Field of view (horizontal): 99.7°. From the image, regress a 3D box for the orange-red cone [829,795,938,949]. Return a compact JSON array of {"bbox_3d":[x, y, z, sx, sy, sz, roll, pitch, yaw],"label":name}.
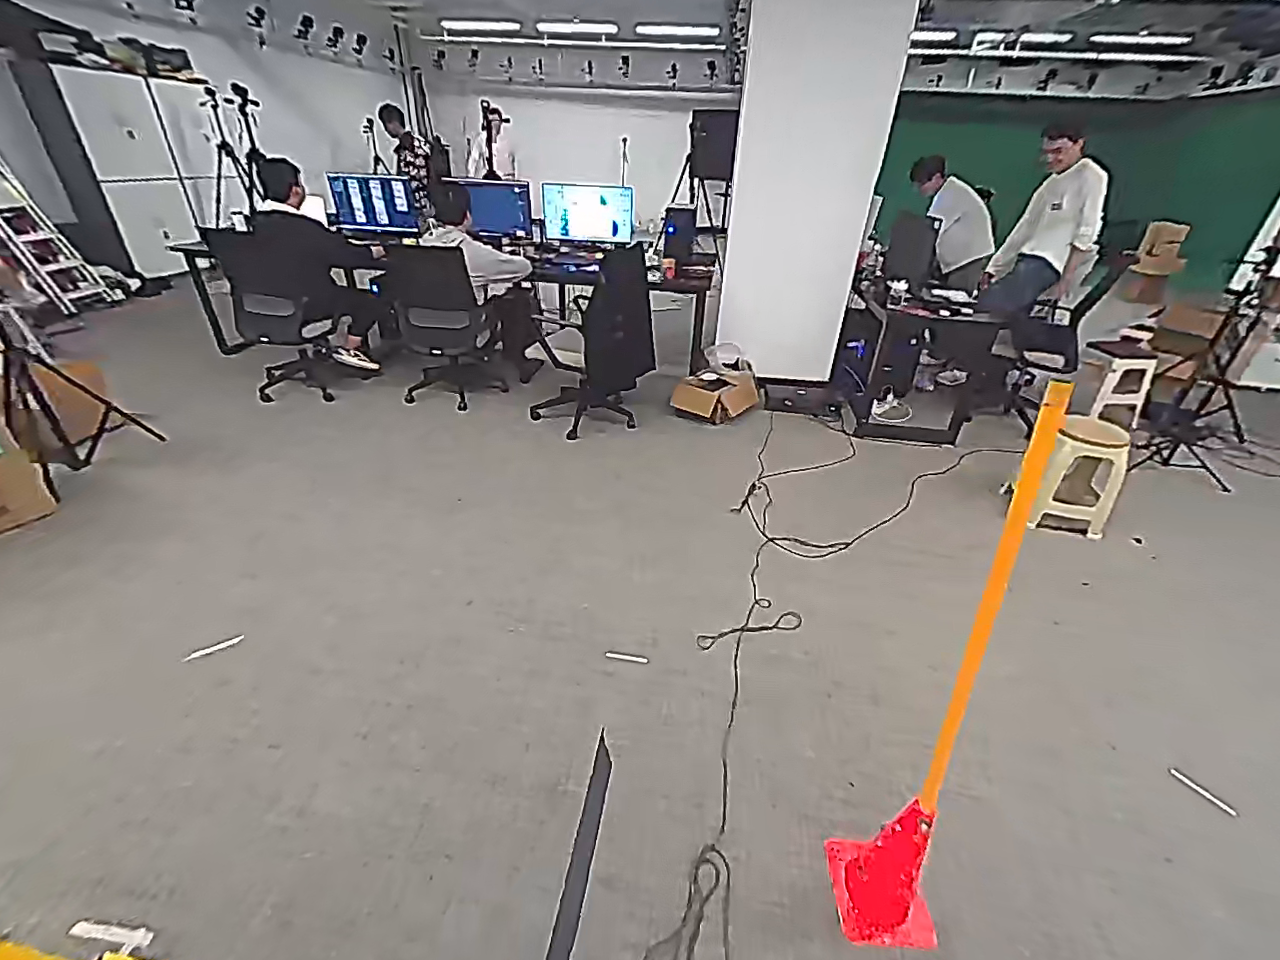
[{"bbox_3d":[0.542,0.775,1.122,0.199,0.360,0.198,3,30,3],"label":"orange-red cone"}]
